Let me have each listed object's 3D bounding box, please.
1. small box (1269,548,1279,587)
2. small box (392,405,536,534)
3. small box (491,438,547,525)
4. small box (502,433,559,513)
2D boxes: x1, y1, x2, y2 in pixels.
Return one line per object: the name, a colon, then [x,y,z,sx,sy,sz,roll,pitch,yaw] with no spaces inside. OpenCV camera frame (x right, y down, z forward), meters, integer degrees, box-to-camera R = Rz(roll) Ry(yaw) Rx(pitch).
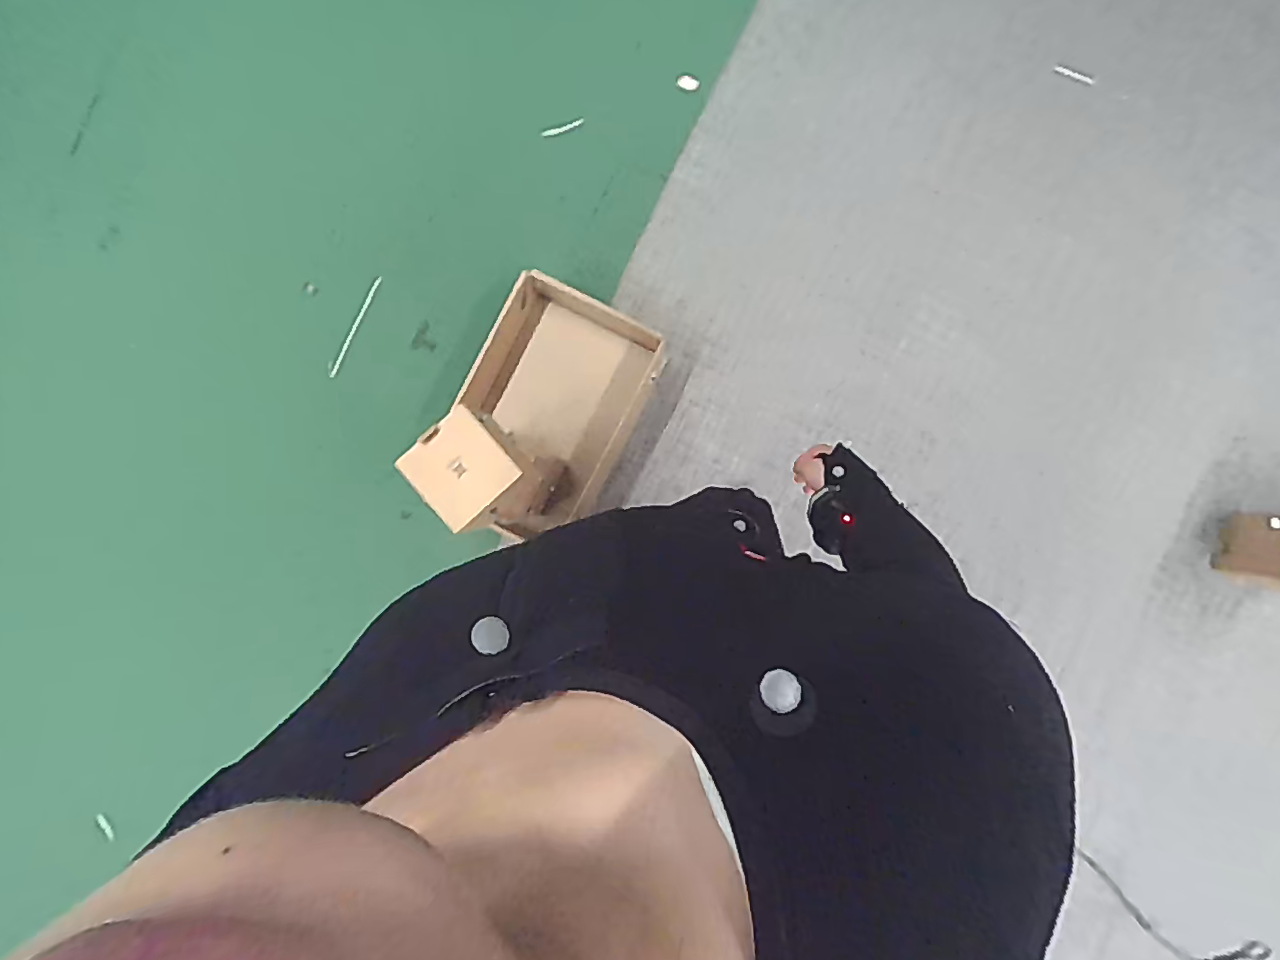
small box: [1.550,0.182,1.168,0.168,0.176,0.179,23,91,4]
small box: [-0.326,-0.019,1.043,0.168,0.176,0.179,-42,86,0]
small box: [-0.327,-0.014,1.206,0.179,0.176,0.168,26,89,4]
small box: [-0.328,-0.018,1.371,0.179,0.176,0.168,24,89,3]
